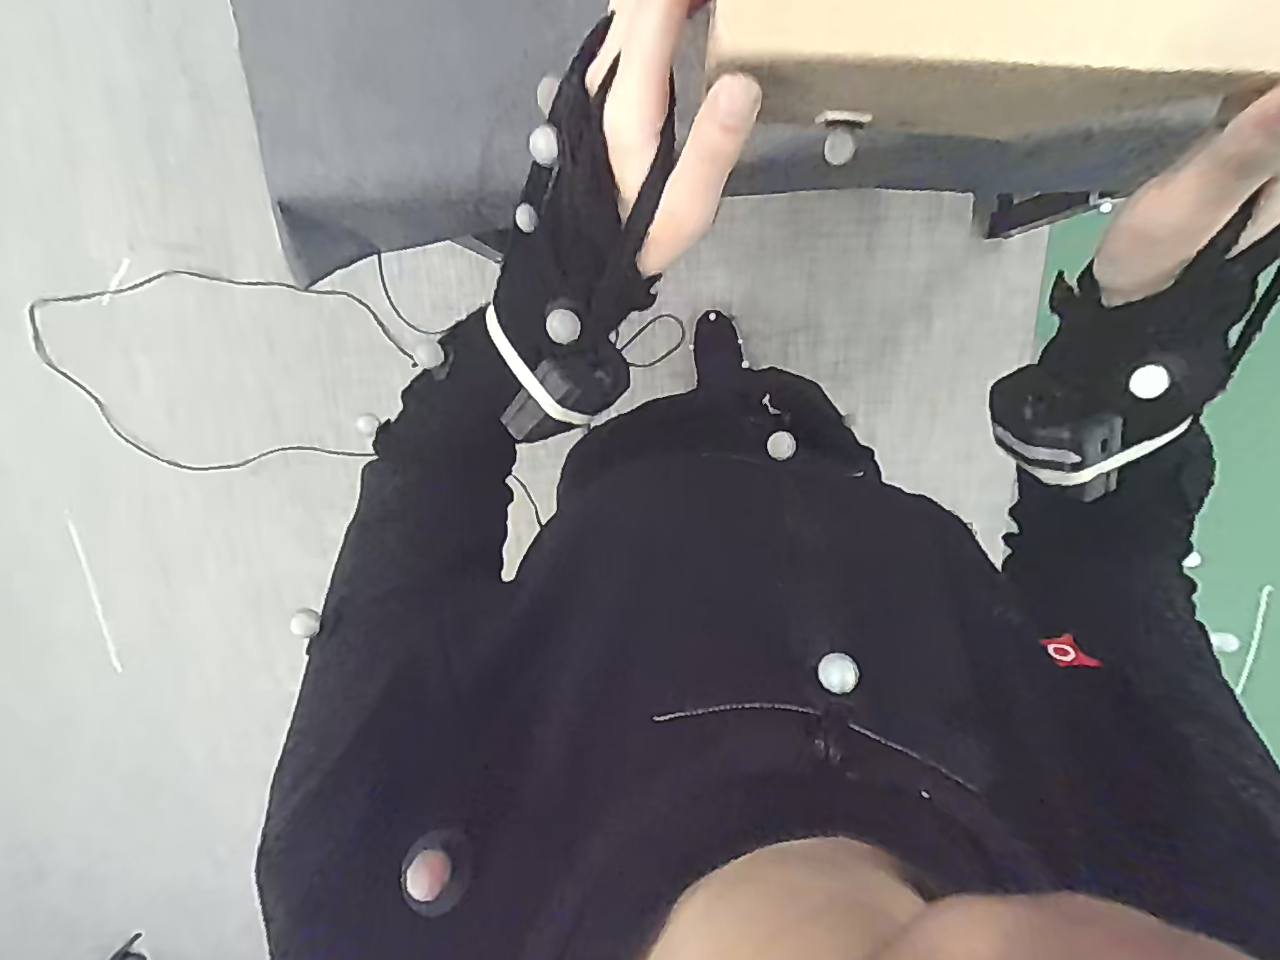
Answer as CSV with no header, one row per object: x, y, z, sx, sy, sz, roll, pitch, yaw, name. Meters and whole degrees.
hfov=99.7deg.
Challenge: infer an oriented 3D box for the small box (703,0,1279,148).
0.113,-0.230,0.188,0.168,0.176,0.179,5,118,3,small box
